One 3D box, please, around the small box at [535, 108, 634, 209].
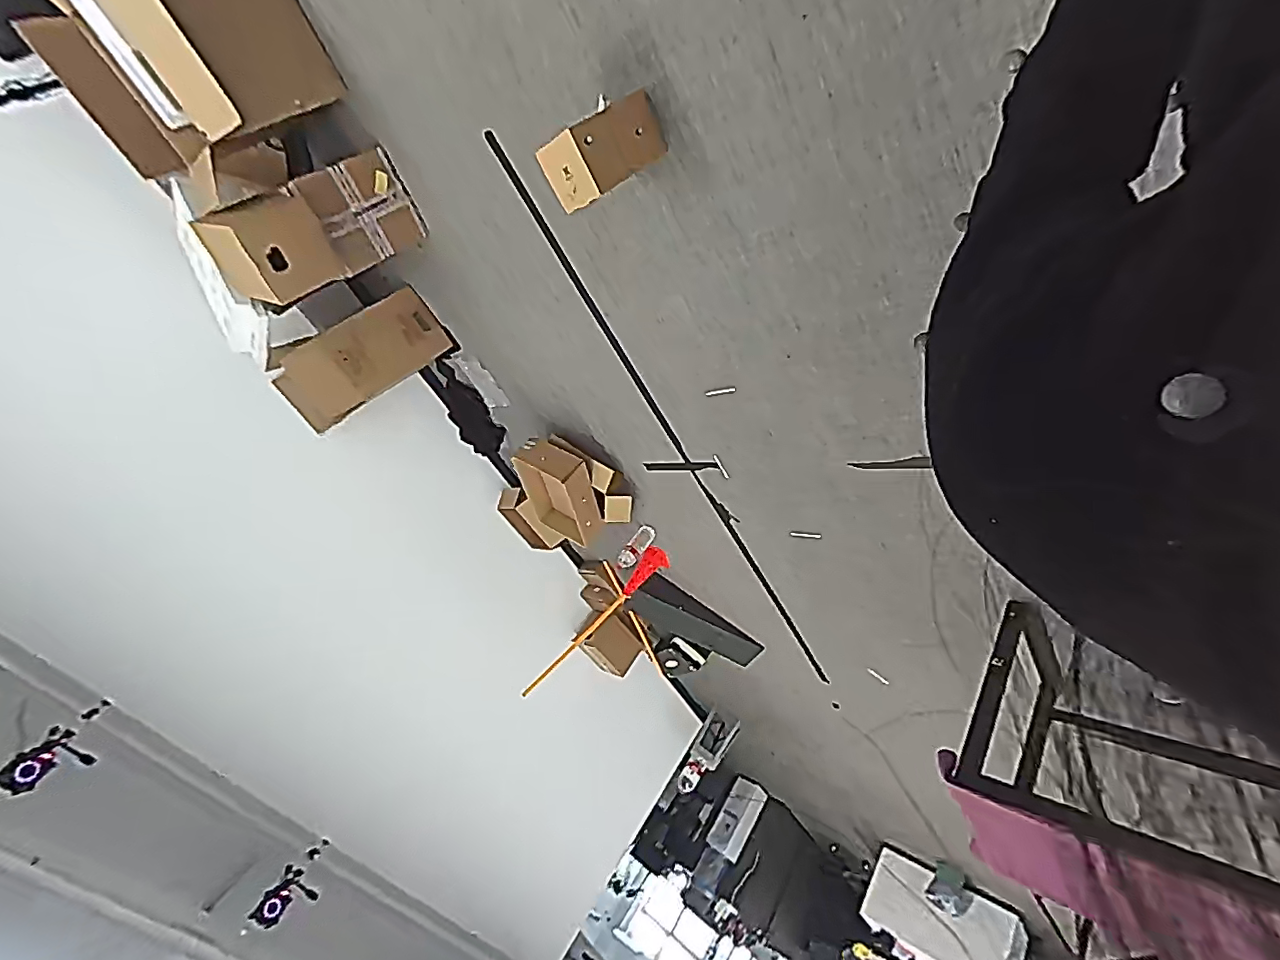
[{"bbox_3d":[-0.149,-0.895,1.498,0.168,0.176,0.179,5,136,48],"label":"small box"}]
